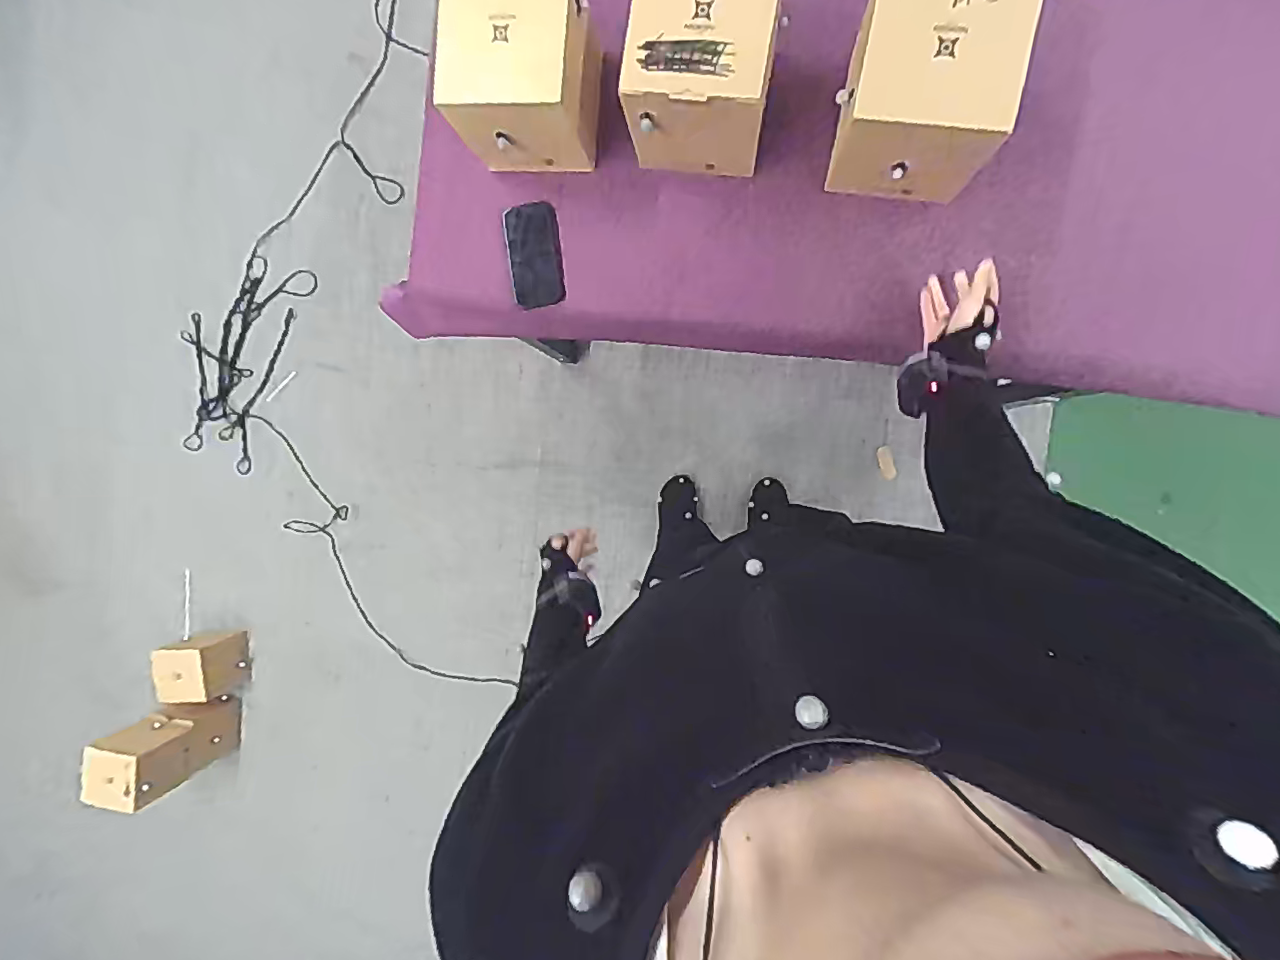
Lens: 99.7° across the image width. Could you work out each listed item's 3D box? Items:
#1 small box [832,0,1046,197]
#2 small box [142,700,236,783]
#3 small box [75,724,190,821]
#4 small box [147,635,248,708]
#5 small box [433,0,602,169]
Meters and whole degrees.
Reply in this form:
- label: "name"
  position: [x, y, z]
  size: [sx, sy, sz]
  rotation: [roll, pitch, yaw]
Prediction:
- label: "small box"
  position: [0.337, -0.465, 0.641]
  size: [0.168, 0.176, 0.179]
  rotation: [11, 94, 8]
- label: "small box"
  position: [-1.416, 0.809, 1.702]
  size: [0.168, 0.176, 0.179]
  rotation: [6, 94, 9]
- label: "small box"
  position: [-1.441, 0.823, 1.540]
  size: [0.179, 0.176, 0.168]
  rotation: [7, 94, 9]
- label: "small box"
  position: [-1.375, 0.593, 1.687]
  size: [0.179, 0.176, 0.168]
  rotation: [-4, 93, 8]
- label: "small box"
  position: [-0.152, -0.539, 0.718]
  size: [0.168, 0.176, 0.179]
  rotation: [5, 92, 9]
